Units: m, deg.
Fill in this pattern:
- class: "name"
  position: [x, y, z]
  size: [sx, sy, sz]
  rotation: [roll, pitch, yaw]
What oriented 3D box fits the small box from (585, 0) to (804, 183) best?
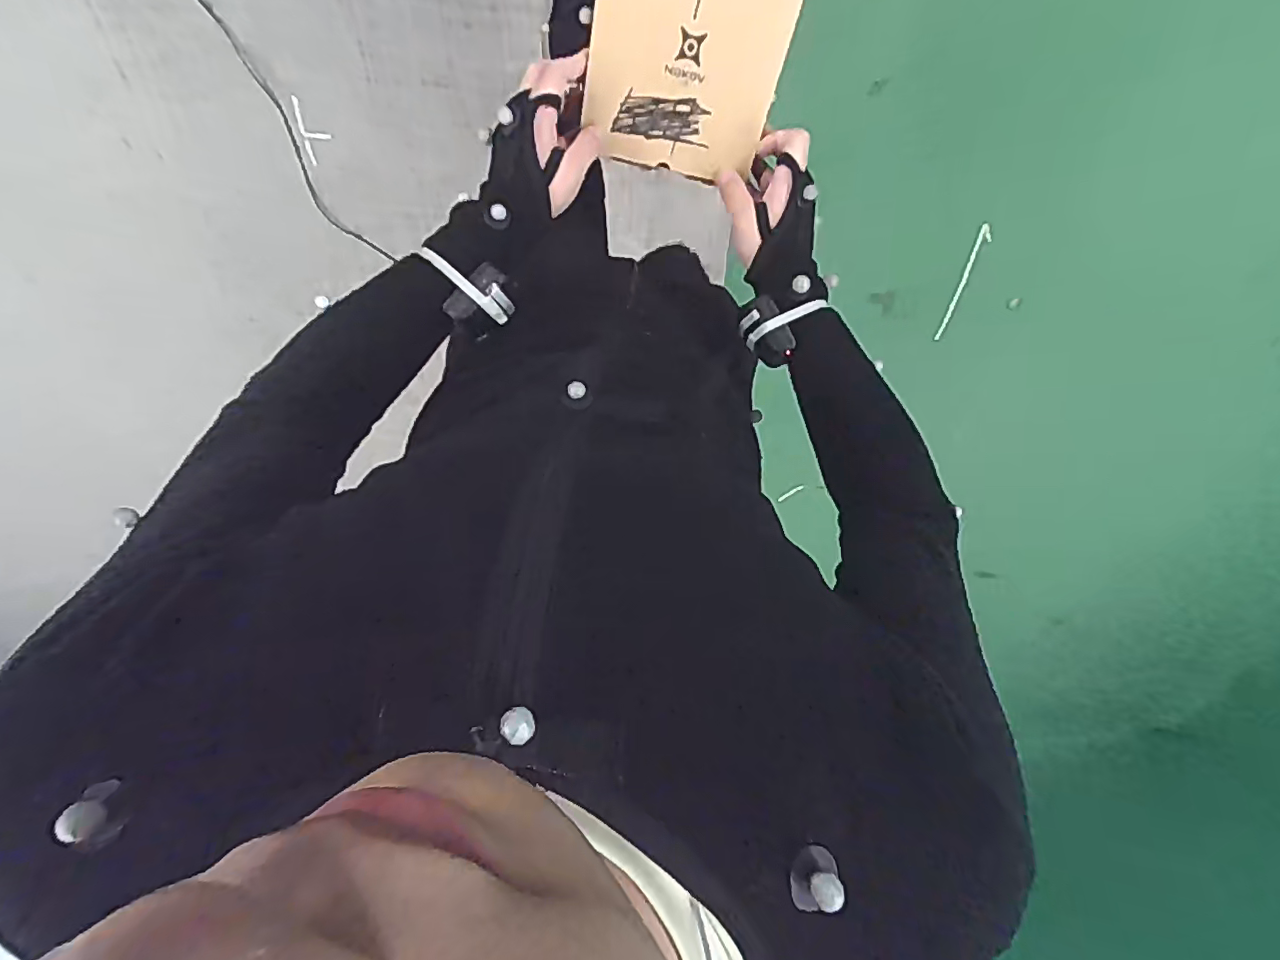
- class: "small box"
  position: [0.043, -0.425, 0.533]
  size: [0.168, 0.176, 0.179]
  rotation: [8, 130, -10]
